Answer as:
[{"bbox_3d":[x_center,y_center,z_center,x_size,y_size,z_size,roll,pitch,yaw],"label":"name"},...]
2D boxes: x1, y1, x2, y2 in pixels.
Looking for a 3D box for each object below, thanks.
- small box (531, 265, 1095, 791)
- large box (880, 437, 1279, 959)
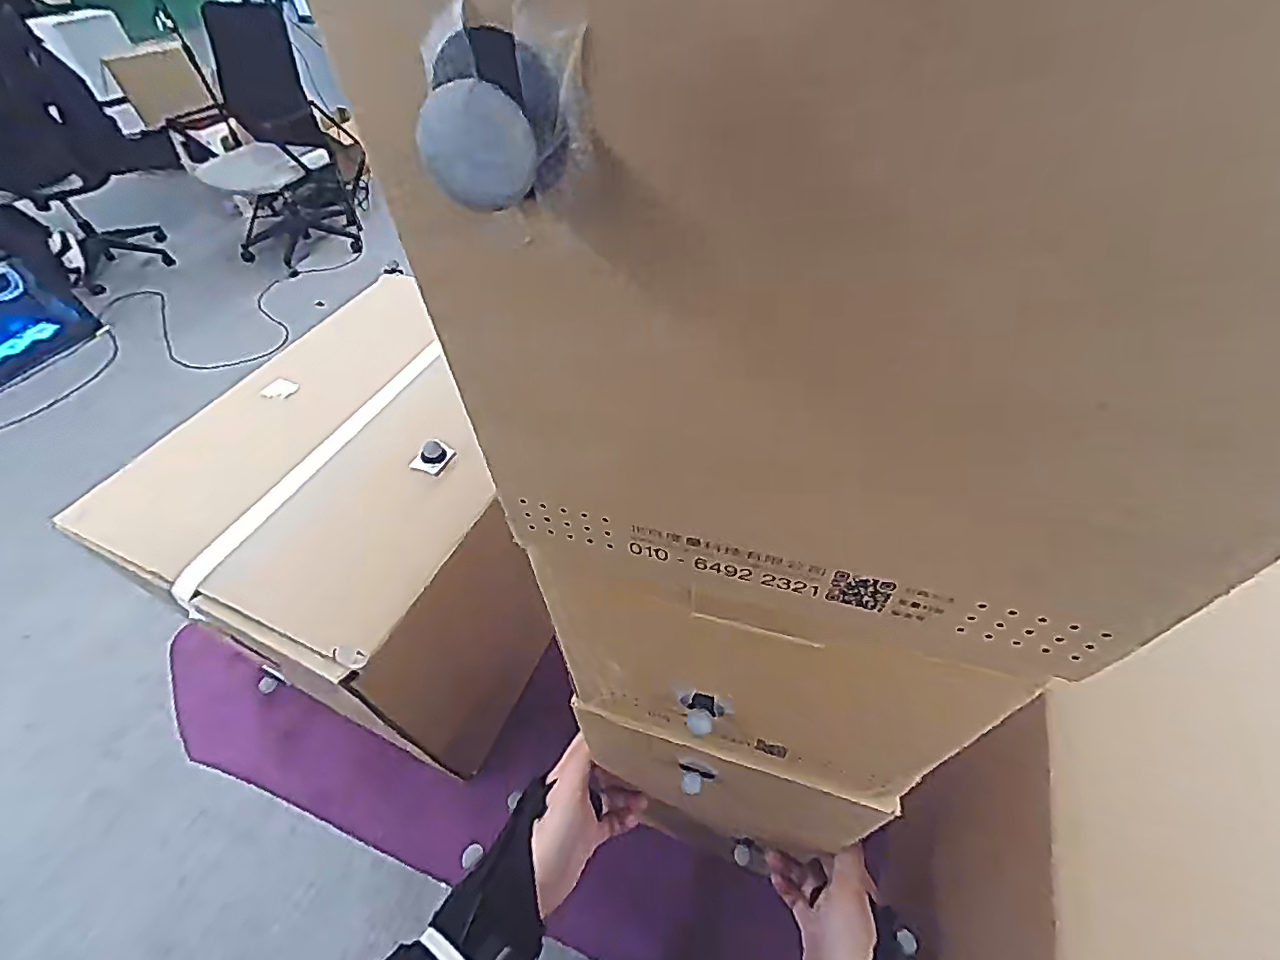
[{"bbox_3d":[0.067,0.022,0.268,0.168,0.176,0.179,11,51,13],"label":"small box"},{"bbox_3d":[0.403,0.237,0.417,0.320,0.320,0.408,17,51,16],"label":"large box"}]
